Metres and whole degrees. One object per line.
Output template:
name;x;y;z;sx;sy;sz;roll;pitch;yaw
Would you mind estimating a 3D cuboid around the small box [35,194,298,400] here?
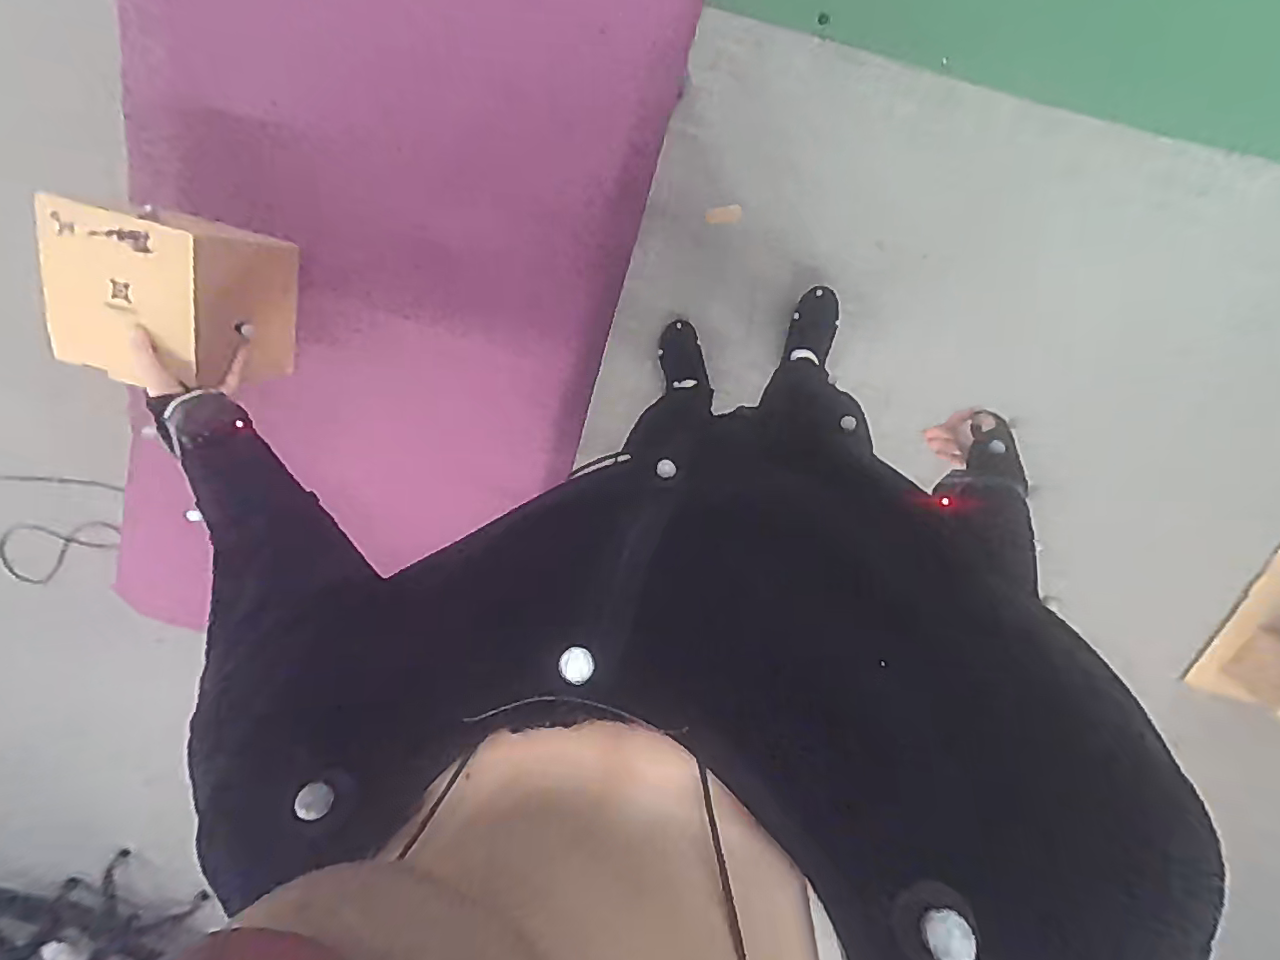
small box;-0.543;-0.216;0.648;0.168;0.176;0.179;15;110;-2
